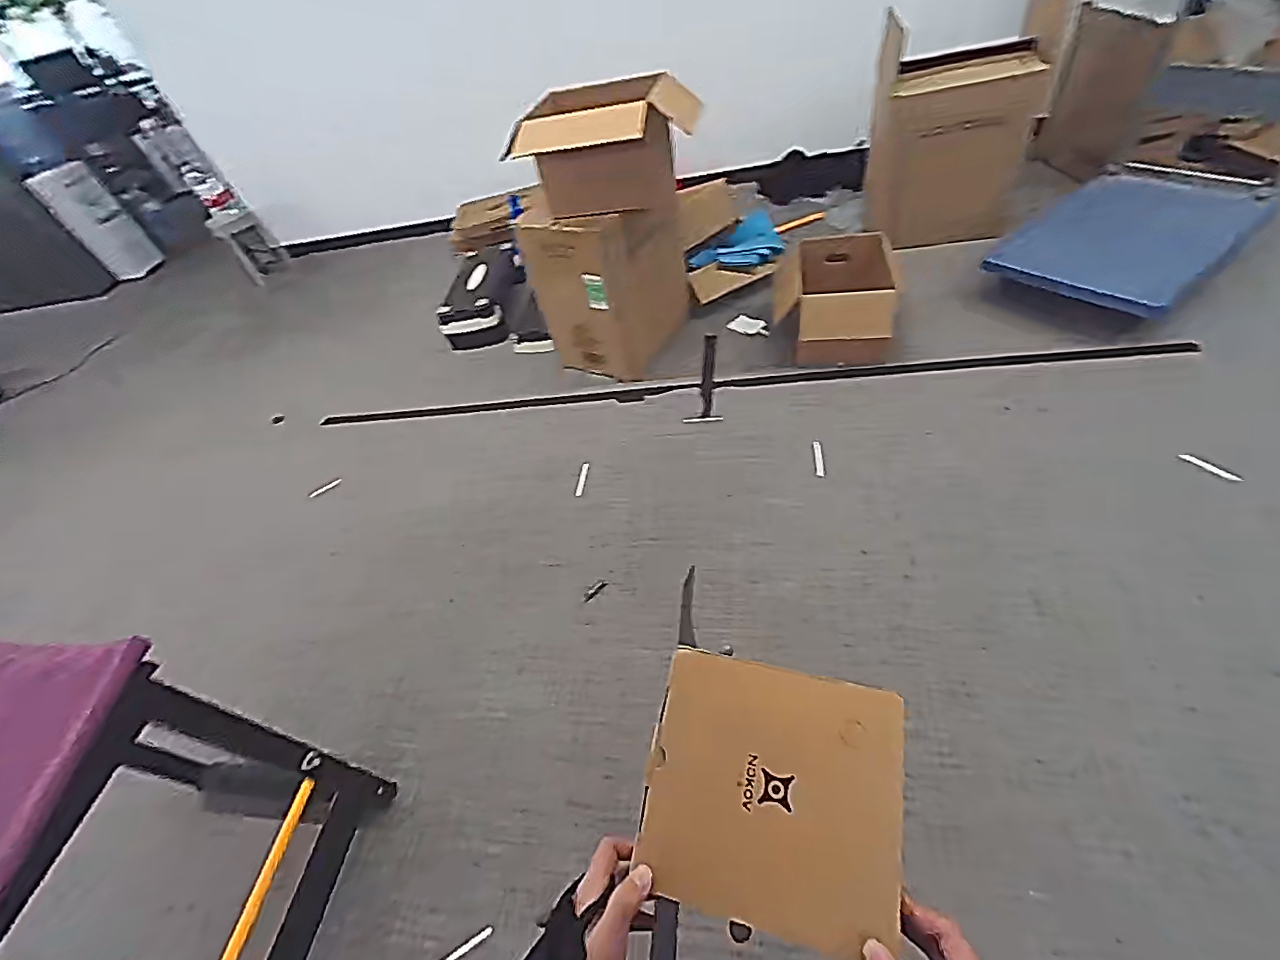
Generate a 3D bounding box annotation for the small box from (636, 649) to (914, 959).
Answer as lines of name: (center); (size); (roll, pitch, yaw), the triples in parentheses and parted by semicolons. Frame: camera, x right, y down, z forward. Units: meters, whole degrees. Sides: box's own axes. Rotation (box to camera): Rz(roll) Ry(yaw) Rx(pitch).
small box: (0.114, 0.256, 0.454); (0.179, 0.176, 0.168); (7, 63, 17)
